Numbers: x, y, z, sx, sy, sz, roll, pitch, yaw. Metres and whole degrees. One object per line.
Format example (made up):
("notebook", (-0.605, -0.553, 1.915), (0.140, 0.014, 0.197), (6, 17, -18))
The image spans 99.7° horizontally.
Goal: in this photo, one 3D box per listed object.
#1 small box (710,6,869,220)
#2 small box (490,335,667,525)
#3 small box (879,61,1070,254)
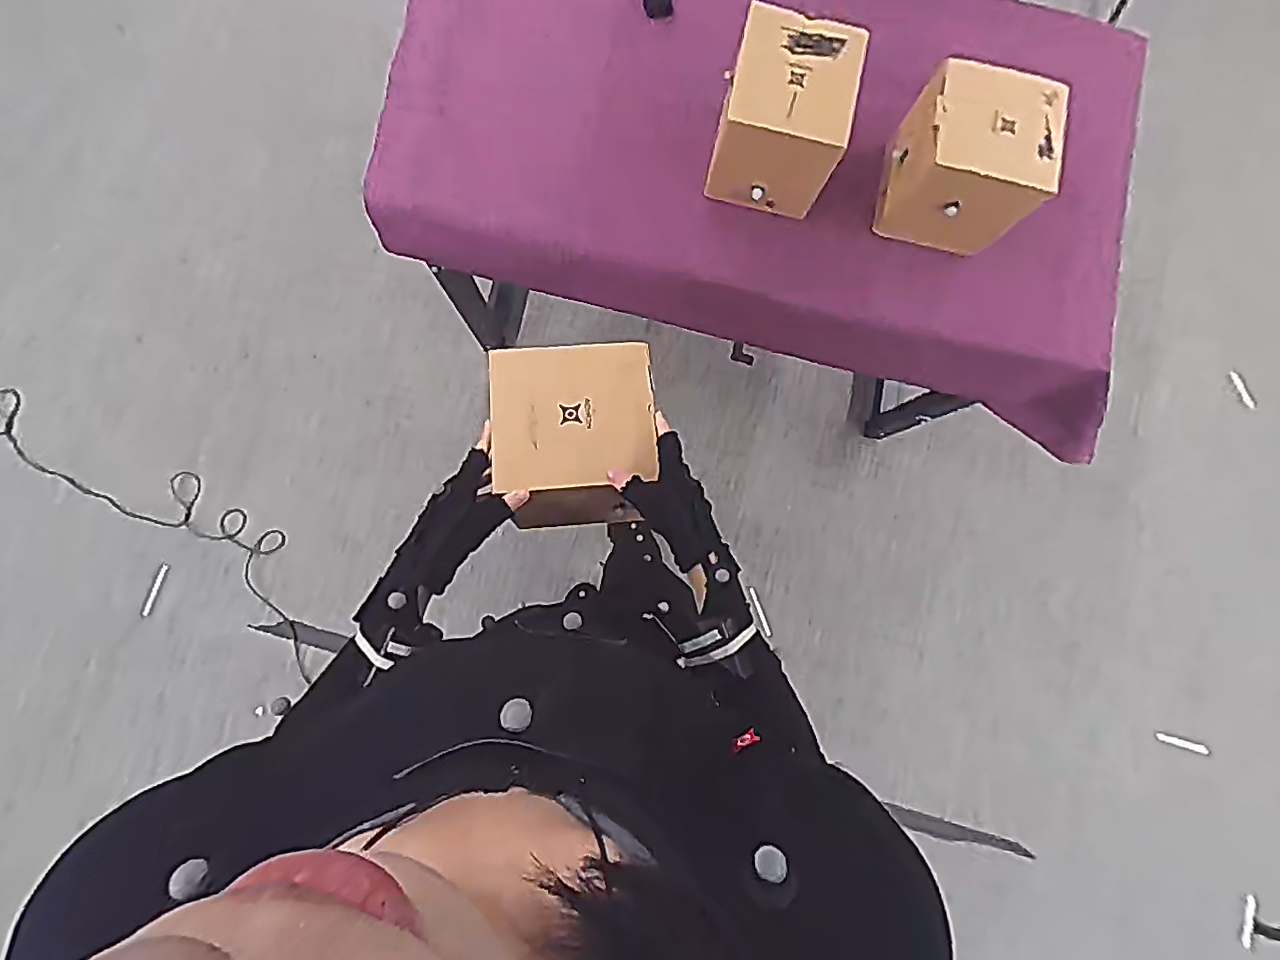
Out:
("small box", (0.208, -0.526, 0.796), (0.168, 0.176, 0.179), (13, 83, -1))
("small box", (-0.072, -0.050, 0.638), (0.179, 0.176, 0.168), (-5, 71, -5))
("small box", (0.483, -0.466, 0.806), (0.179, 0.176, 0.168), (12, 83, -1))
